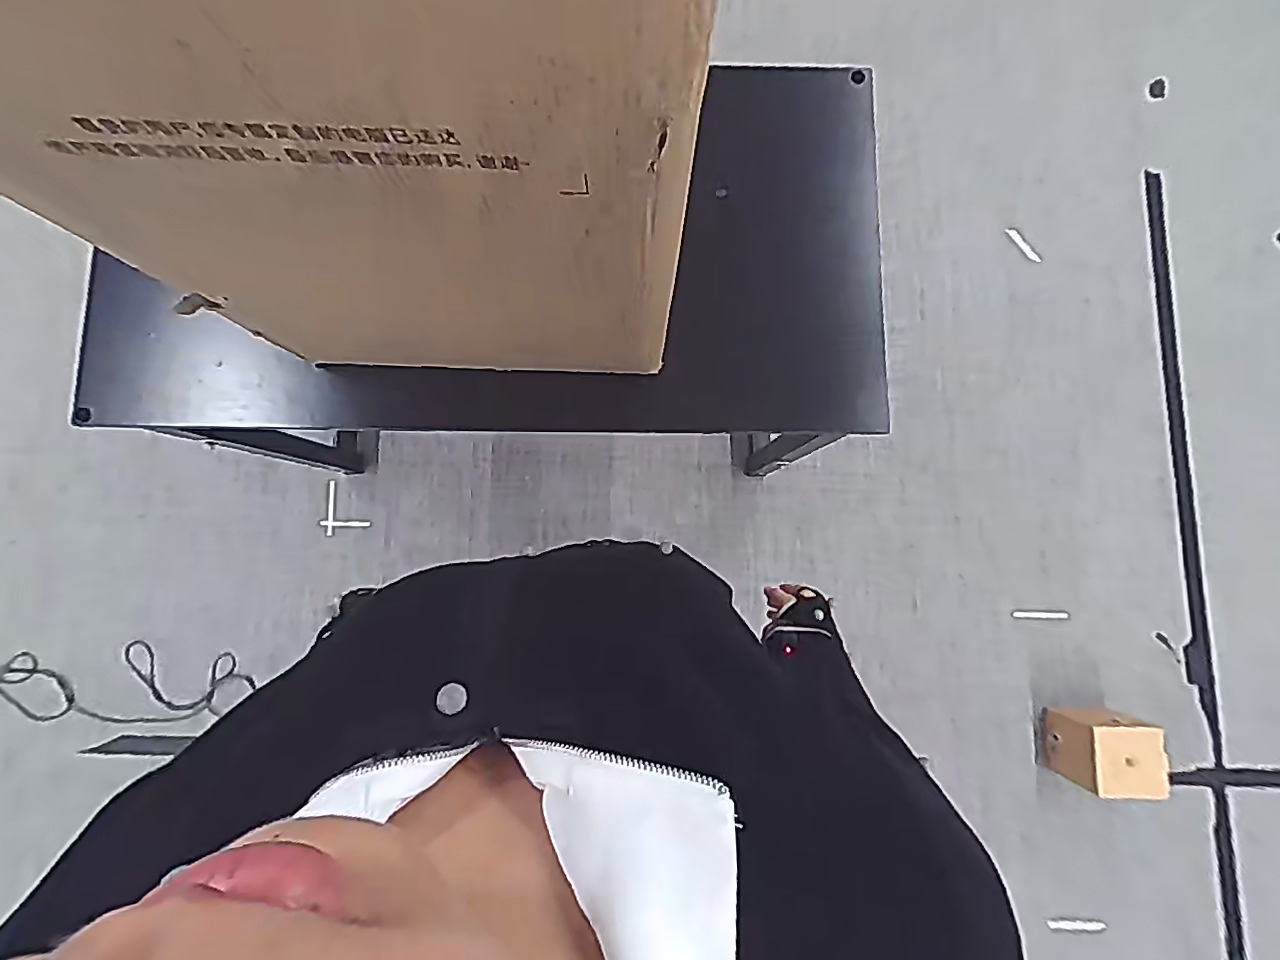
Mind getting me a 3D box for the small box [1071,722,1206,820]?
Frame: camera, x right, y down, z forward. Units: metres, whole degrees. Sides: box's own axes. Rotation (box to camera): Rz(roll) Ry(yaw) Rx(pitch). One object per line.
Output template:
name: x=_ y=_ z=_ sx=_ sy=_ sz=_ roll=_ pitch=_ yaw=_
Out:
small box: x=1.211 y=0.705 z=1.325 sx=0.179 sy=0.176 sz=0.168 roll=0 pitch=83 yaw=0
